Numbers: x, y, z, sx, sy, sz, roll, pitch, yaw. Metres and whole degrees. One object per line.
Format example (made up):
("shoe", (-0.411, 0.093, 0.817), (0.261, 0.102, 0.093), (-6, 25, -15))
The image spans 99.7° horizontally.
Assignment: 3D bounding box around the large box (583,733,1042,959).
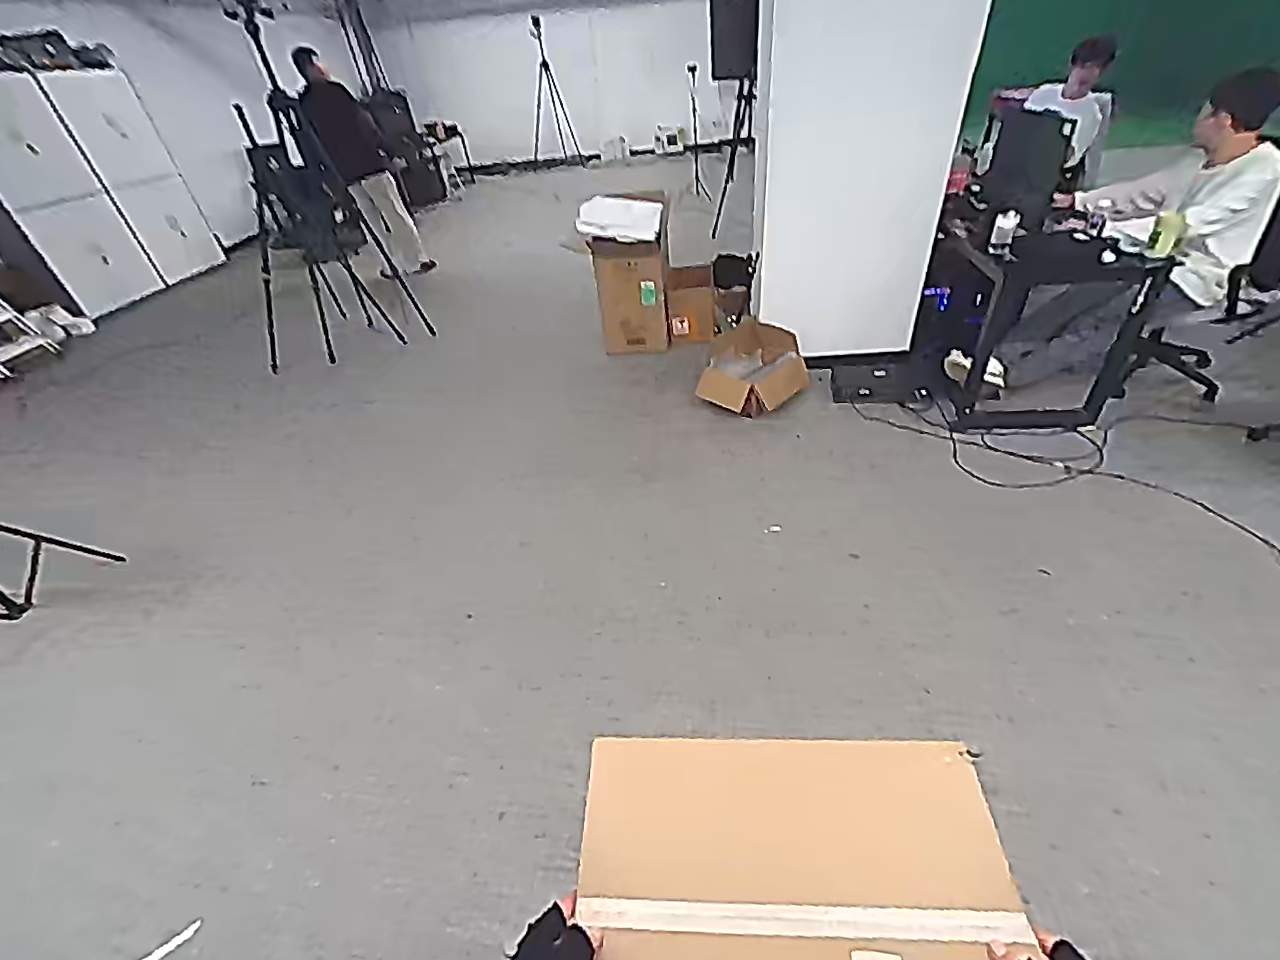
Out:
("large box", (0.158, 0.498, 0.602), (0.408, 0.320, 0.320), (-2, 46, 5))
